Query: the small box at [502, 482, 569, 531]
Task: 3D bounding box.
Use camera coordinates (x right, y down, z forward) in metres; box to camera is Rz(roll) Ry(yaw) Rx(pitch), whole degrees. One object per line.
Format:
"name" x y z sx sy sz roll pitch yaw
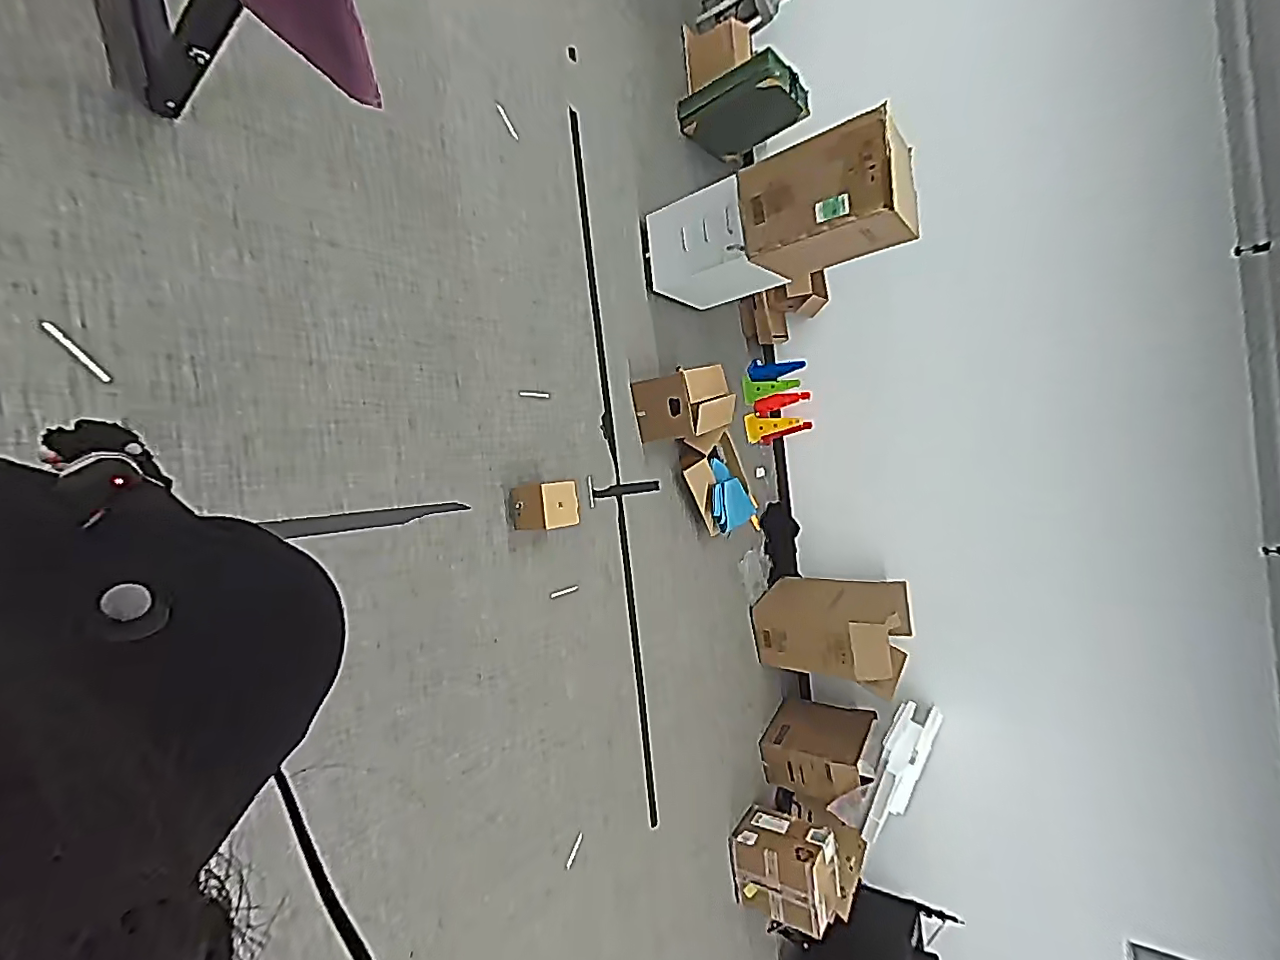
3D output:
"small box" -0.391 0.098 2.019 0.179 0.176 0.168 -7 90 -54
